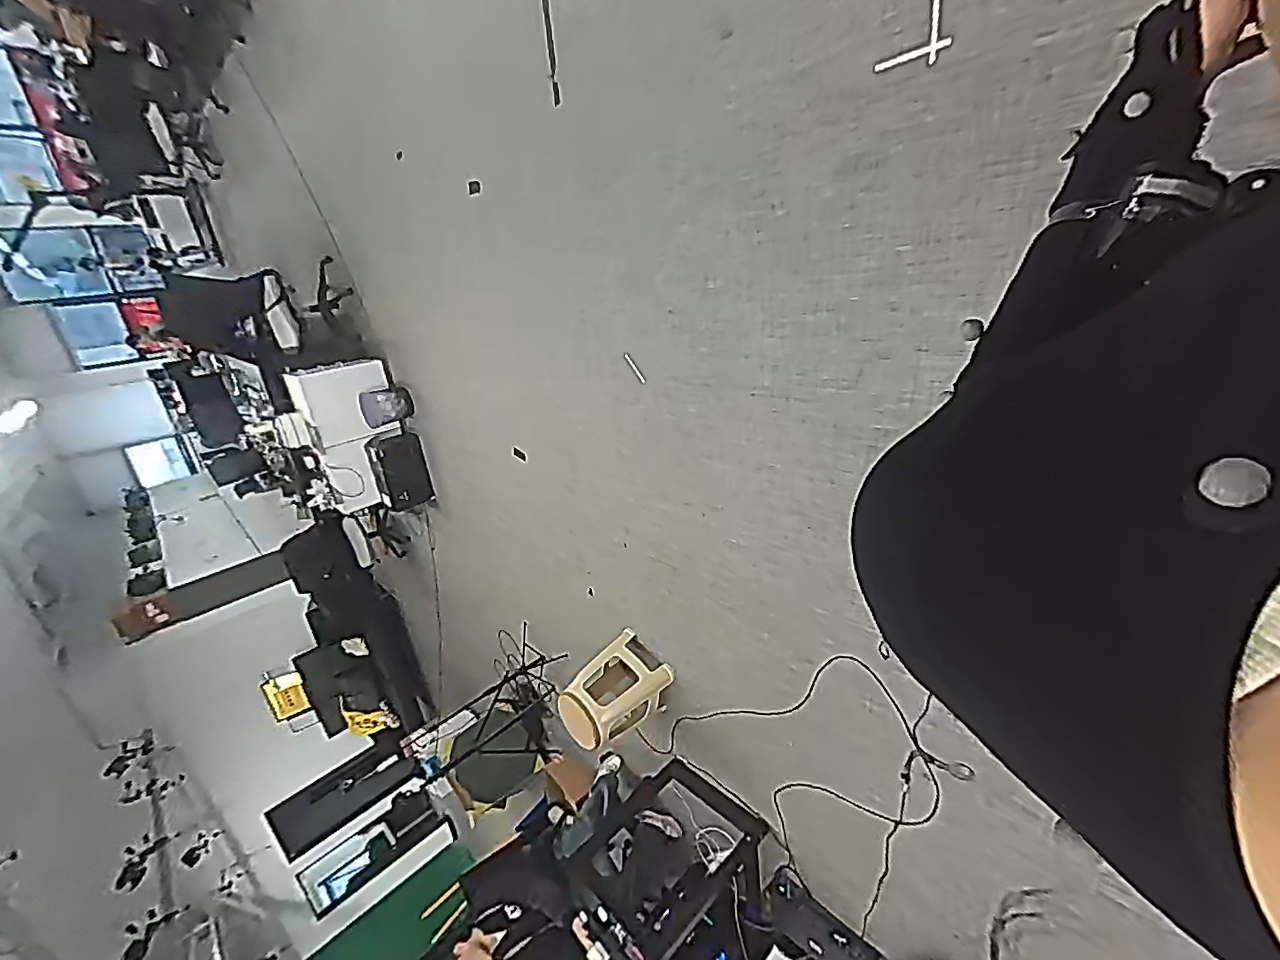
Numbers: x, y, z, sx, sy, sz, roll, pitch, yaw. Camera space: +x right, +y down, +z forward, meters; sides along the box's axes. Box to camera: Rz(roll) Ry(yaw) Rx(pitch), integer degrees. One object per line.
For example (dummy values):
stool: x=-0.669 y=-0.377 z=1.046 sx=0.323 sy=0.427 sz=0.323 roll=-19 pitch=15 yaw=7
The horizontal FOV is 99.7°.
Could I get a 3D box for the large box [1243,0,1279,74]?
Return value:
large box: x=0.419 y=-0.355 z=0.098 sx=0.408 sy=0.320 sz=0.320 roll=0 pitch=128 yaw=45
